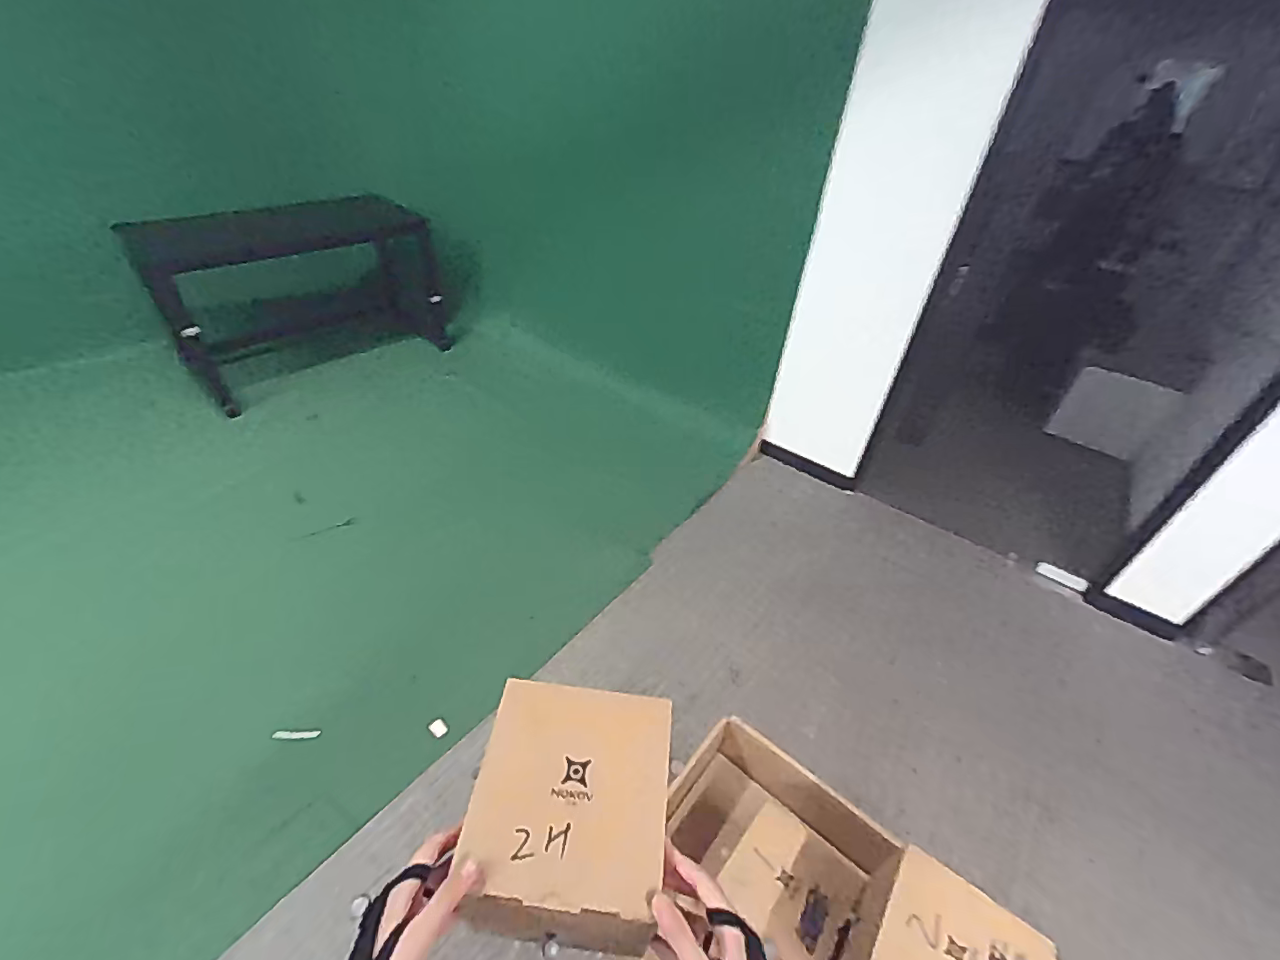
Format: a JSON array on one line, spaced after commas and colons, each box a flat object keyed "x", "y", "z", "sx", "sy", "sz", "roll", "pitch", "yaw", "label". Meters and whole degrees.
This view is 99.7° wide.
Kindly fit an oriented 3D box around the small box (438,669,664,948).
[{"x": -0.073, "y": 0.312, "z": 0.520, "sx": 0.168, "sy": 0.176, "sz": 0.179, "roll": 7, "pitch": 41, "yaw": 1, "label": "small box"}]
